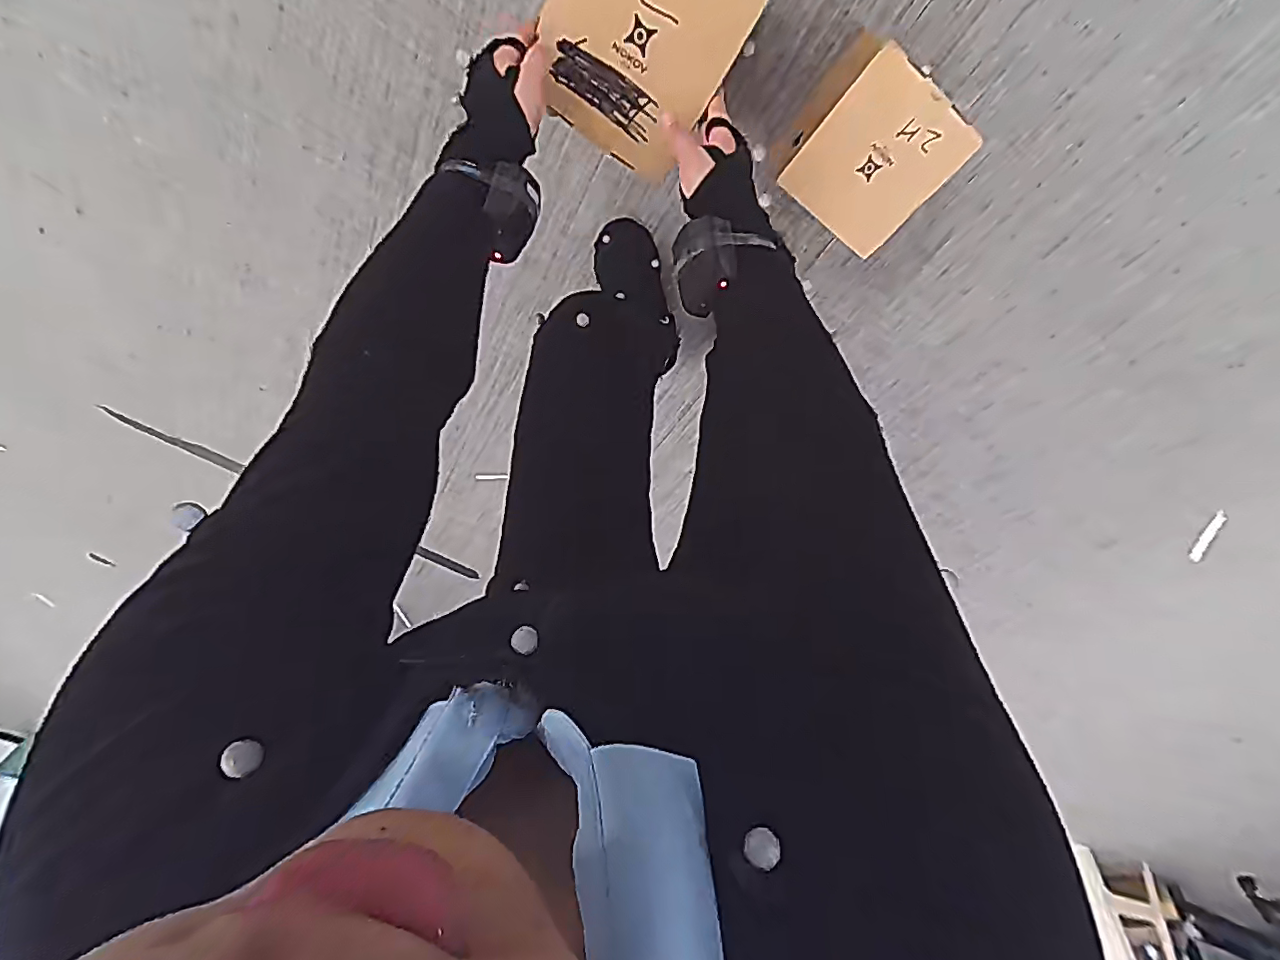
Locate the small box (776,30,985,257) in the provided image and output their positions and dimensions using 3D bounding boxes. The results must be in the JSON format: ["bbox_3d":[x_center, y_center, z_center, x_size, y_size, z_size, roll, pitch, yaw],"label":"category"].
[{"bbox_3d":[0.298,-0.438,0.707,0.168,0.176,0.179,31,130,-18],"label":"small box"}]

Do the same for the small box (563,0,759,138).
[{"bbox_3d":[0.033,-0.563,0.650,0.168,0.176,0.179,30,131,-15],"label":"small box"}]
